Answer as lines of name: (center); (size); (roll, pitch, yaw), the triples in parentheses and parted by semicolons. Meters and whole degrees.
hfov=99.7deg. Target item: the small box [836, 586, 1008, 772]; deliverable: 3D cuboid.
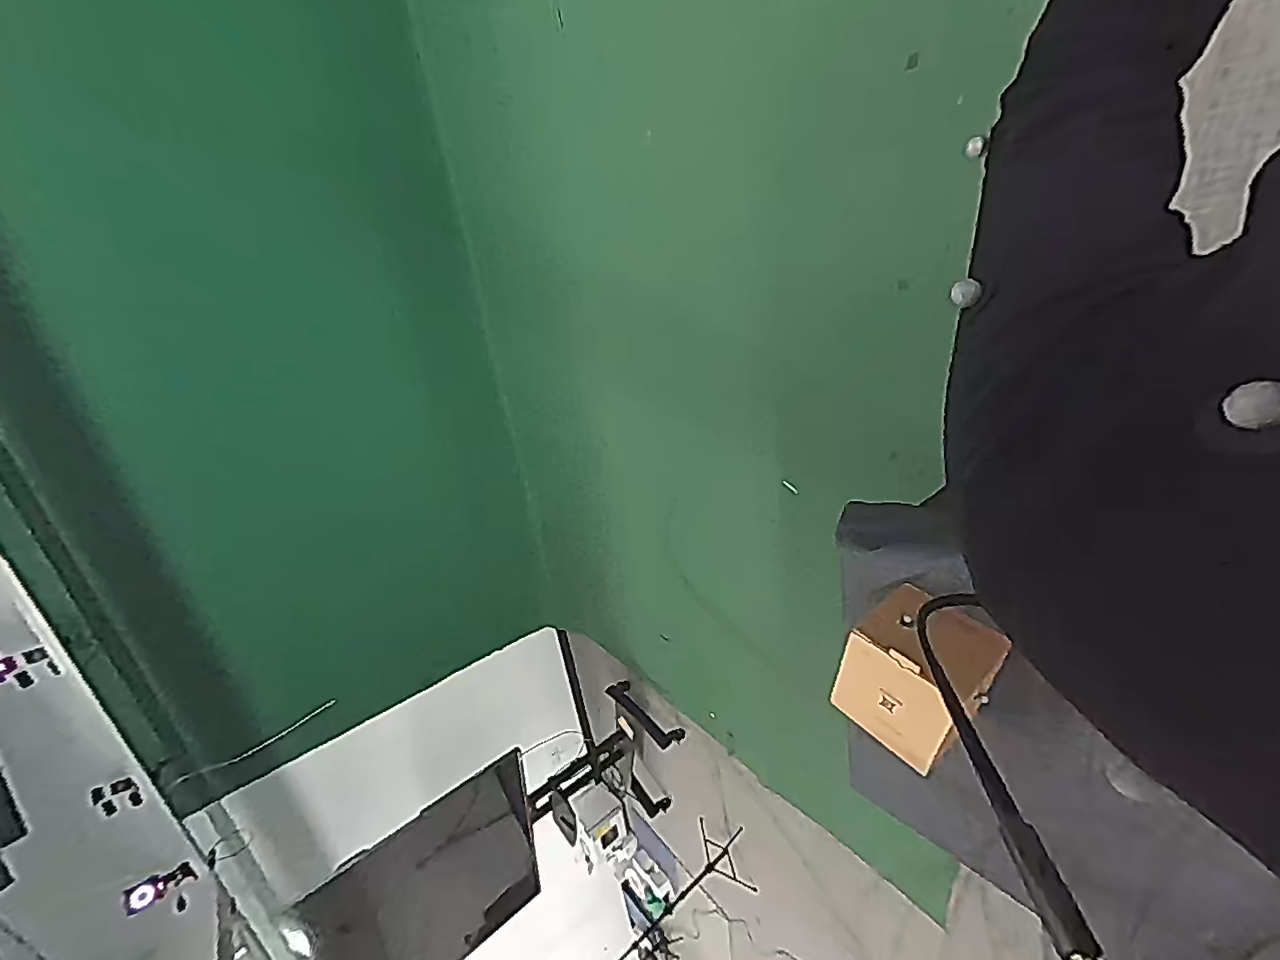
small box: (0.438, 0.299, 0.846); (0.168, 0.176, 0.179); (33, 137, 43)
